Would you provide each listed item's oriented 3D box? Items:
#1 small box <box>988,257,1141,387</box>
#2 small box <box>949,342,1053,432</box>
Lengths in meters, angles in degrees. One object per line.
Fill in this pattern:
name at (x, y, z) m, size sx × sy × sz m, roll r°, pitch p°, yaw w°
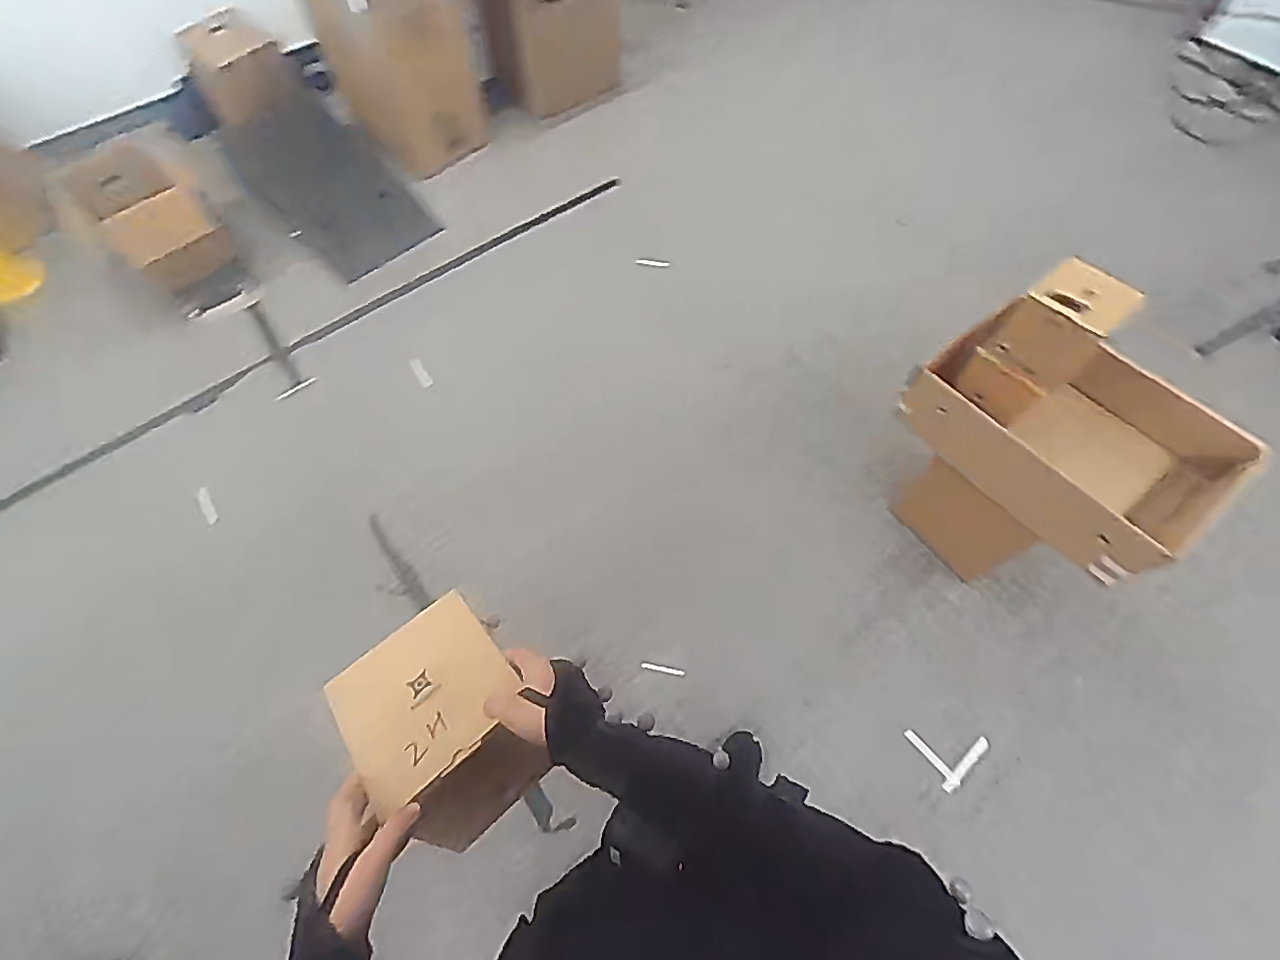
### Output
small box at (0.899, -0.335, 1.167) m, size 0.179 × 0.176 × 0.168 m, roll -36°, pitch 66°, yaw -16°
small box at (0.894, -0.252, 1.309) m, size 0.179 × 0.176 × 0.168 m, roll -37°, pitch 66°, yaw -16°
